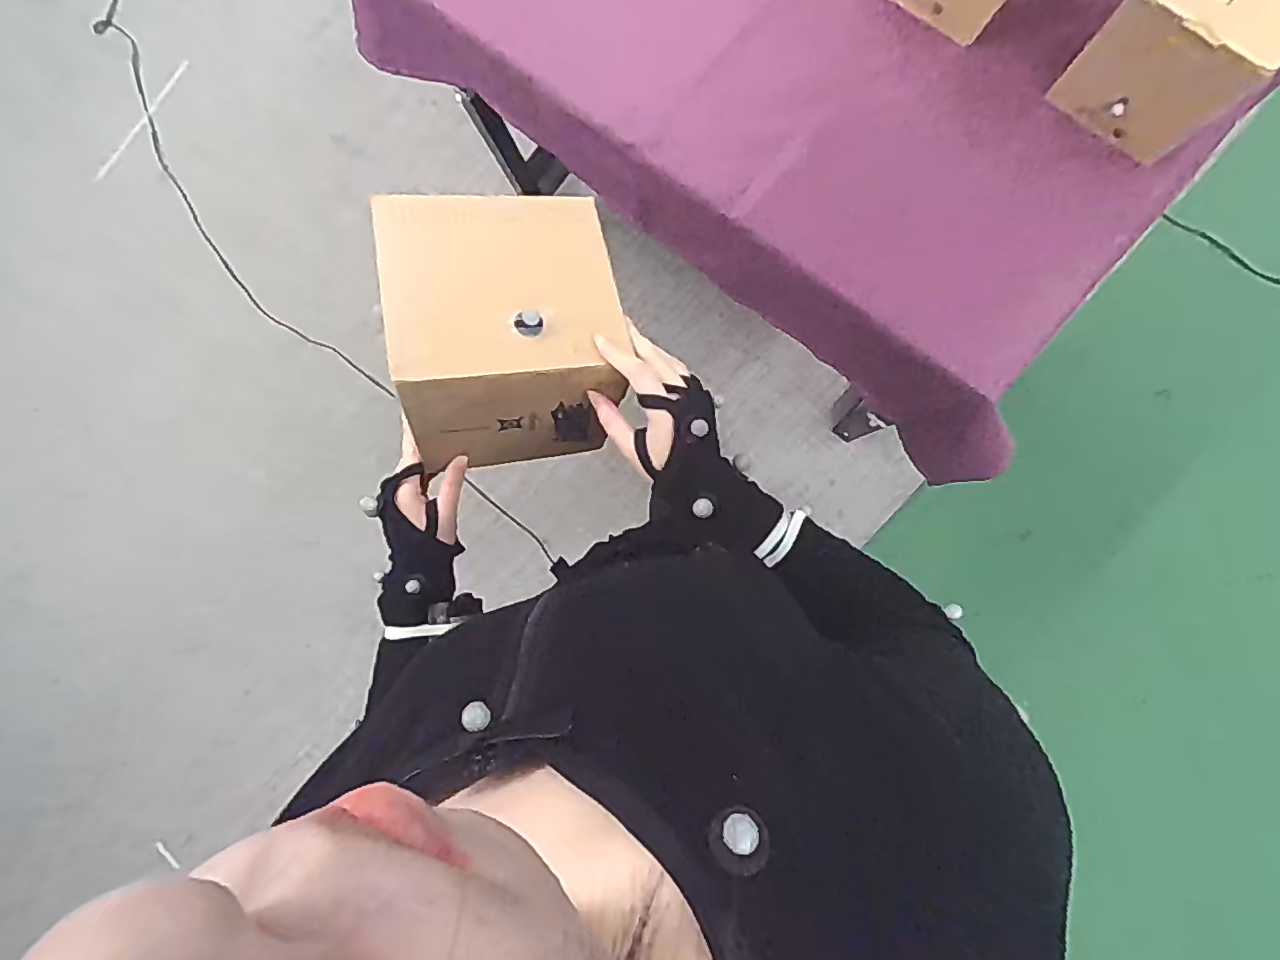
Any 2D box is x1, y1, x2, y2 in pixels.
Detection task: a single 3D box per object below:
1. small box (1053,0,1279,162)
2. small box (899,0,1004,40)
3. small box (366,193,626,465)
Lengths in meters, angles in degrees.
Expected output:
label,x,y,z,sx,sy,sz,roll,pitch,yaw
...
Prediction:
label,x,y,z,sx,sy,sz,roll,pitch,yaw
small box,0.650,-0.531,0.635,0.168,0.176,0.179,42,96,7
small box,0.435,-0.720,0.671,0.168,0.176,0.179,39,94,6
small box,-0.129,-0.129,0.484,0.179,0.168,0.176,-8,72,-17
